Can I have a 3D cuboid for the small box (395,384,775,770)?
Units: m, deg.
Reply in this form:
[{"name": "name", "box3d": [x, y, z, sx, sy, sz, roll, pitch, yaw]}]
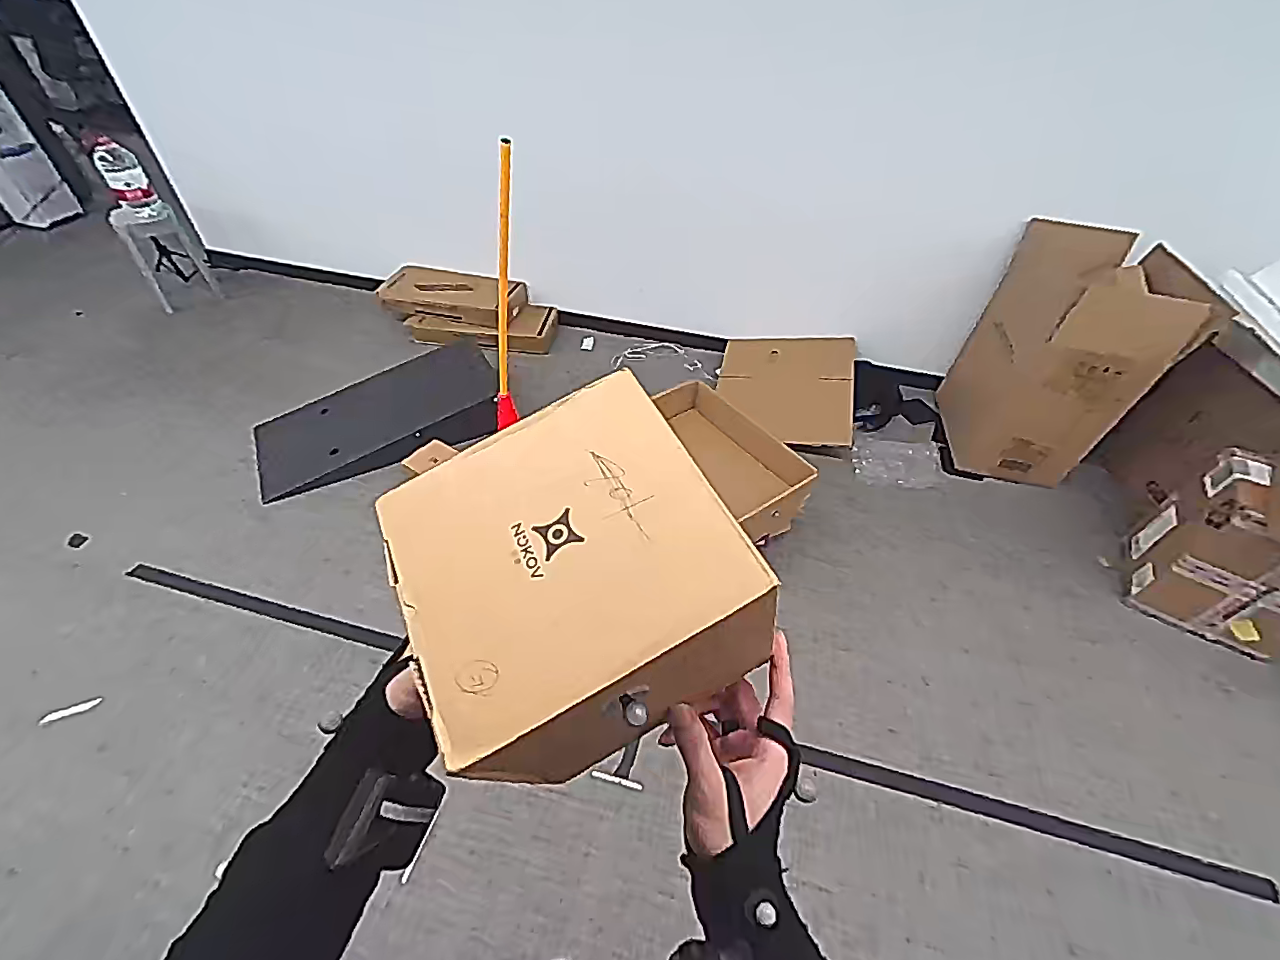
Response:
[{"name": "small box", "box3d": [-0.027, 0.076, 0.368, 0.179, 0.176, 0.168, -29, 59, -6]}]
